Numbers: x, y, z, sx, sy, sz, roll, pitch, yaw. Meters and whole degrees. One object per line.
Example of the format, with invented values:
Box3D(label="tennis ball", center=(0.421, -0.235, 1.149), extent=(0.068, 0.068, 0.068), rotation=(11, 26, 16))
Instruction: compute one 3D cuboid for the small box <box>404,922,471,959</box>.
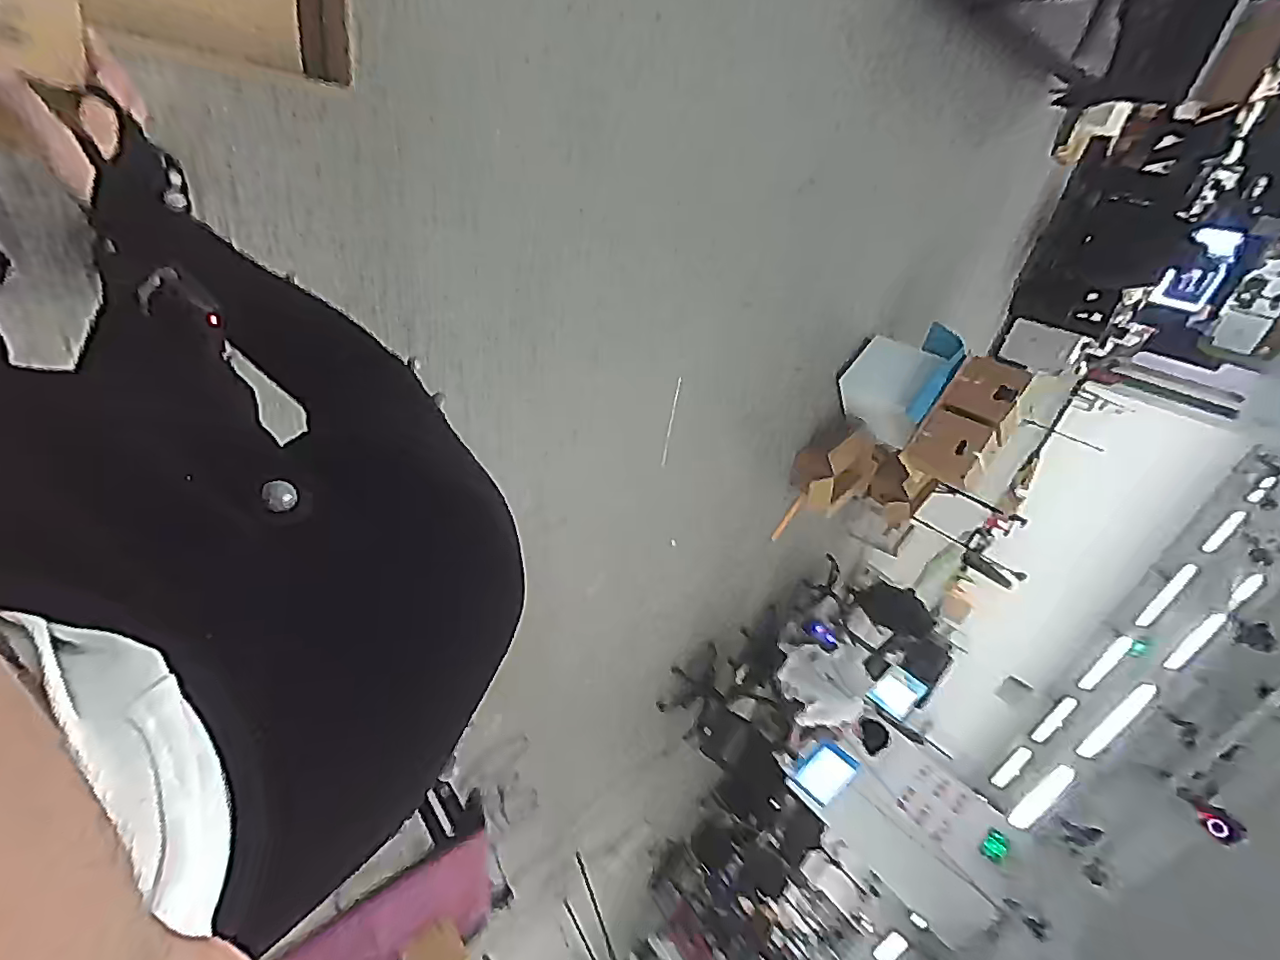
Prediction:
Box3D(label="small box", center=(-0.658, 1.602, 1.765), extent=(0.168, 0.176, 0.179), rotation=(-18, 131, -37))
